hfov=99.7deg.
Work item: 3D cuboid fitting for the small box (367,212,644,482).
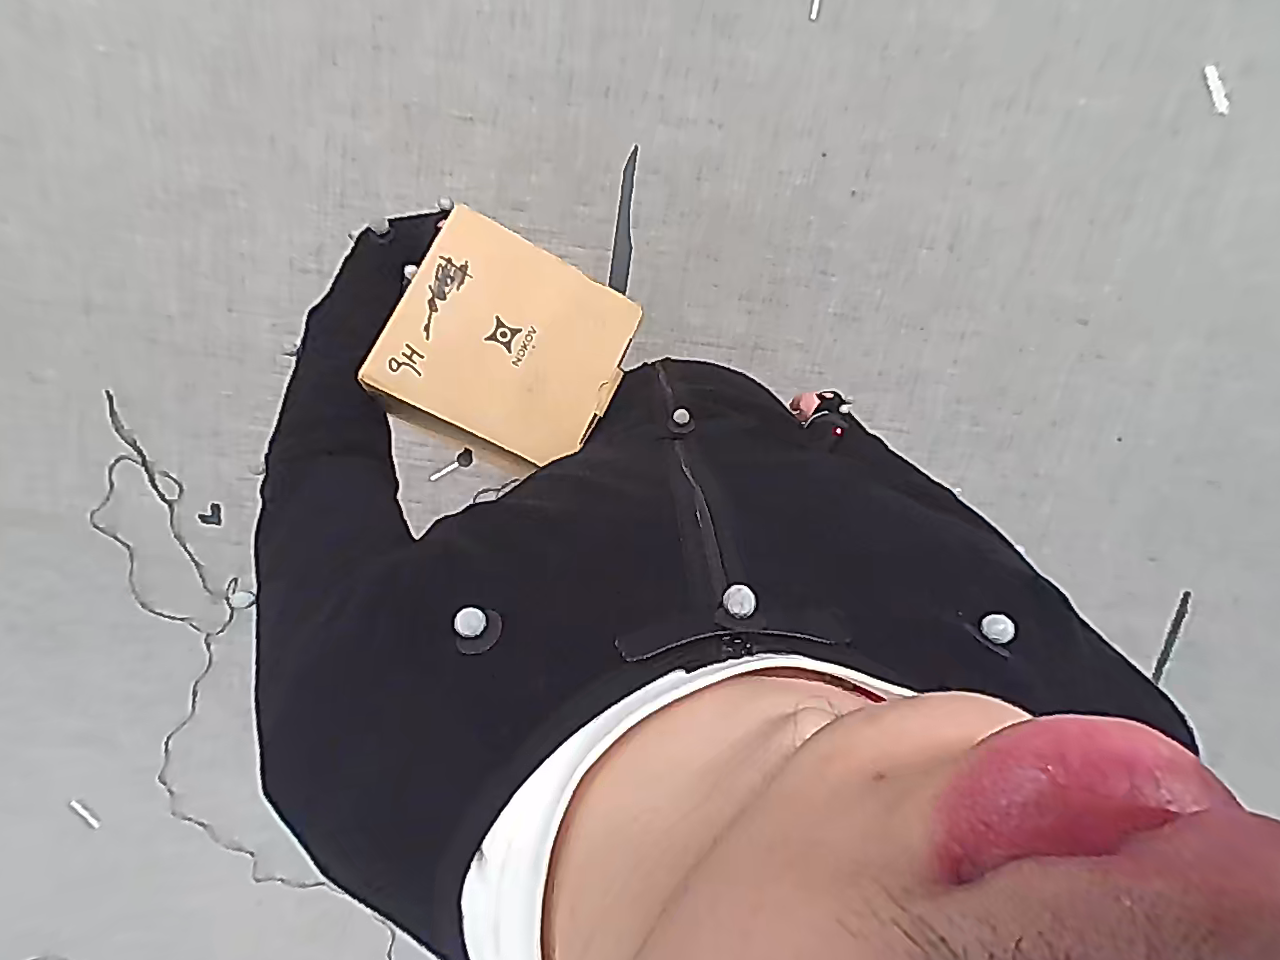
[{"bbox_3d":[-0.126,-0.106,0.521,0.179,0.176,0.168,27,78,-14],"label":"small box"}]
